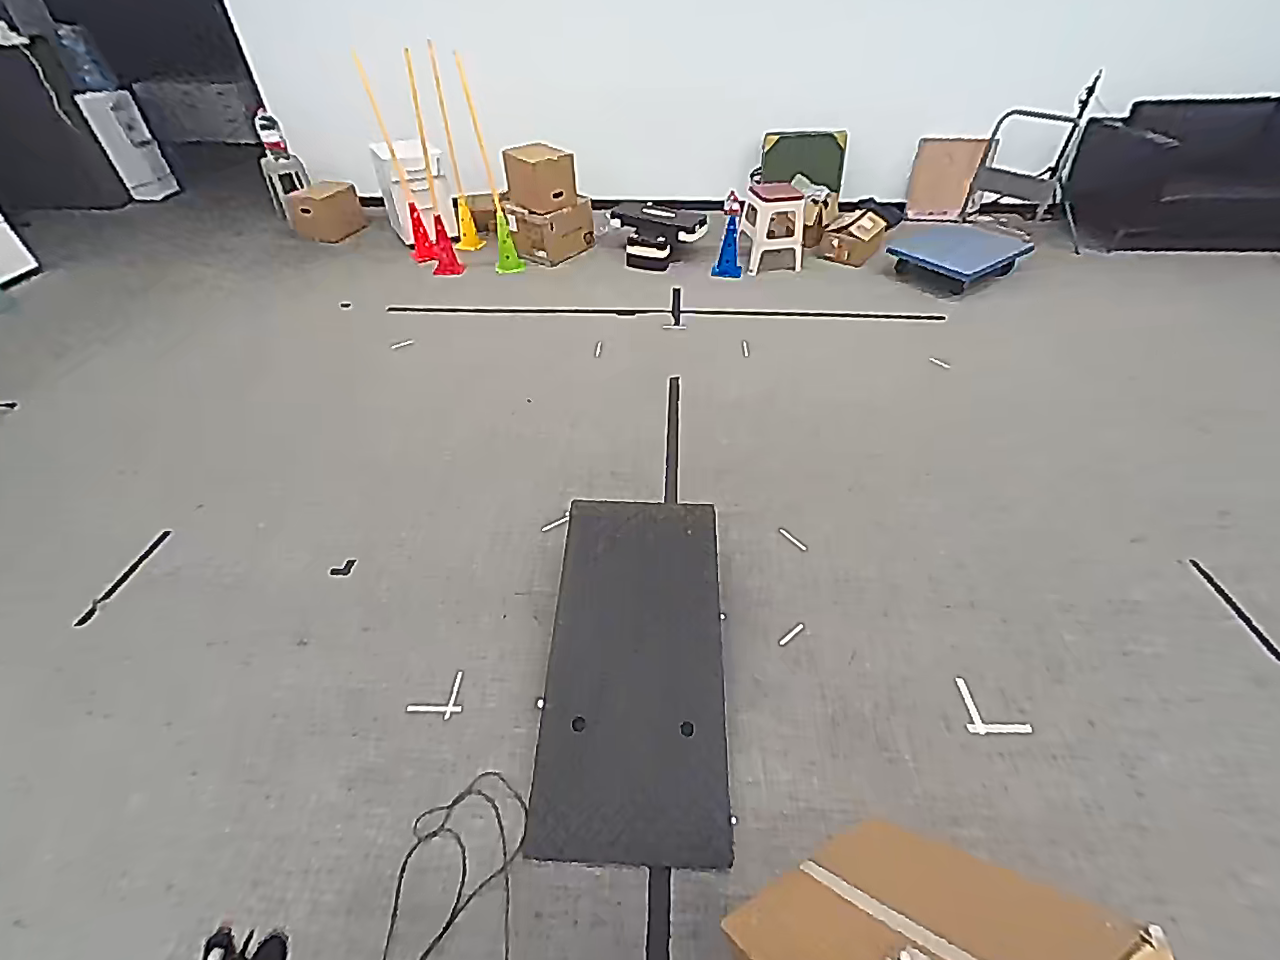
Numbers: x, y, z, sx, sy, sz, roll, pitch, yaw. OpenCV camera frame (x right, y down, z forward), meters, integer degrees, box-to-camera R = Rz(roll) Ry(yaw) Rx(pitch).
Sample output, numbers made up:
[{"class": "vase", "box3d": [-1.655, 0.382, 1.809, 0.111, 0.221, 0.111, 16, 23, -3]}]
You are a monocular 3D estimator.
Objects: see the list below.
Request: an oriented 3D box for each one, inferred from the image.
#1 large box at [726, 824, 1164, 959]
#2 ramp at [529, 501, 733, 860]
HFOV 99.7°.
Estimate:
[{"class": "large box", "box3d": [0.365, 0.685, 0.631, 0.320, 0.408, 0.320, -16, 79, -21]}, {"class": "ramp", "box3d": [-0.002, 0.483, 1.561, 0.509, 0.206, 0.991, 1, 44, 0]}]
